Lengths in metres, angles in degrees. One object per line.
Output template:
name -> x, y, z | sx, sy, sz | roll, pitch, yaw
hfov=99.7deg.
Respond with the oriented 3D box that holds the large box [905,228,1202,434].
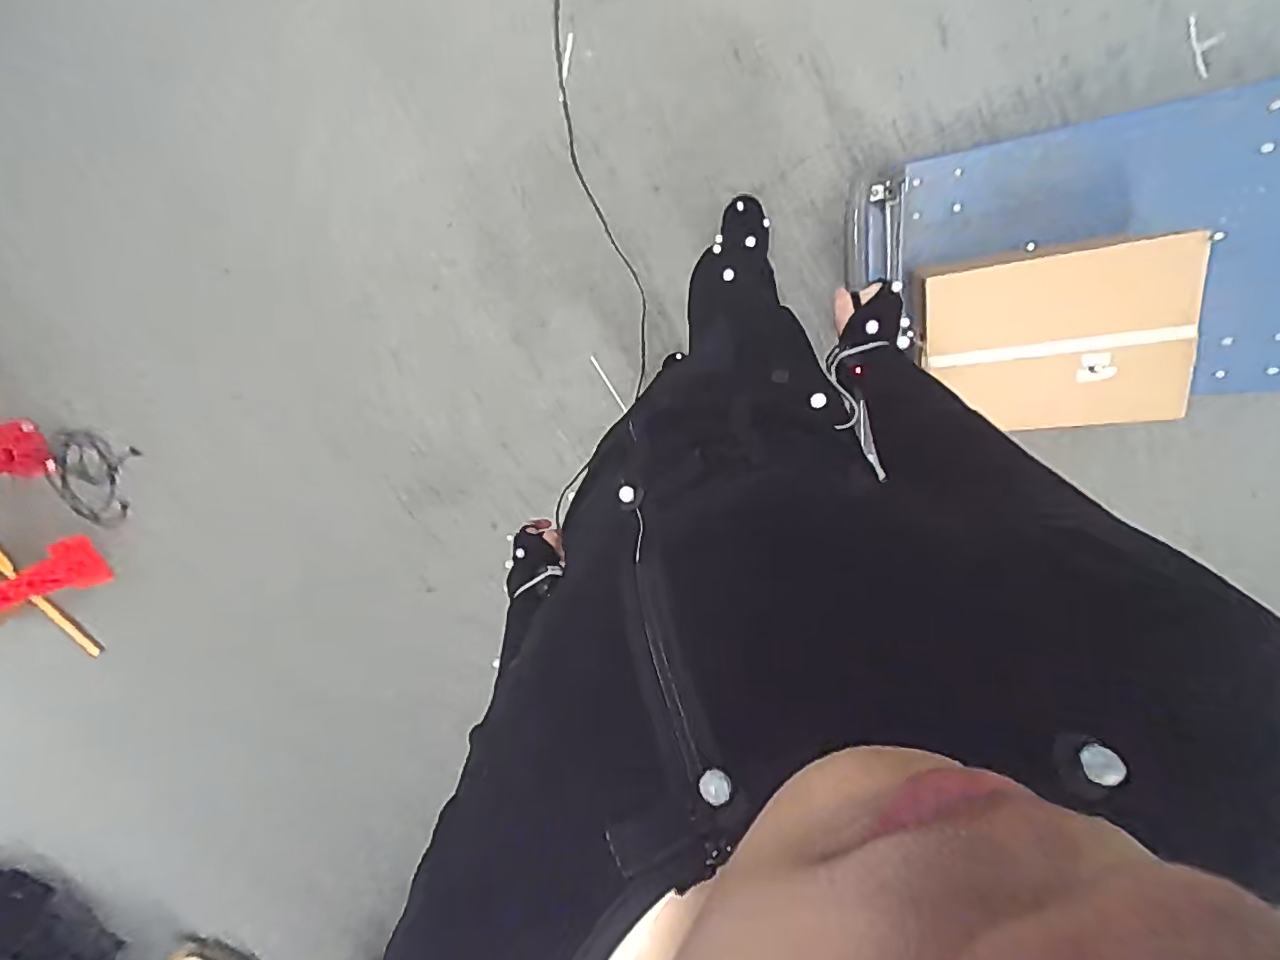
large box -> 0.783, -0.301, 1.107 | 0.408, 0.320, 0.320 | -3, 112, 22
